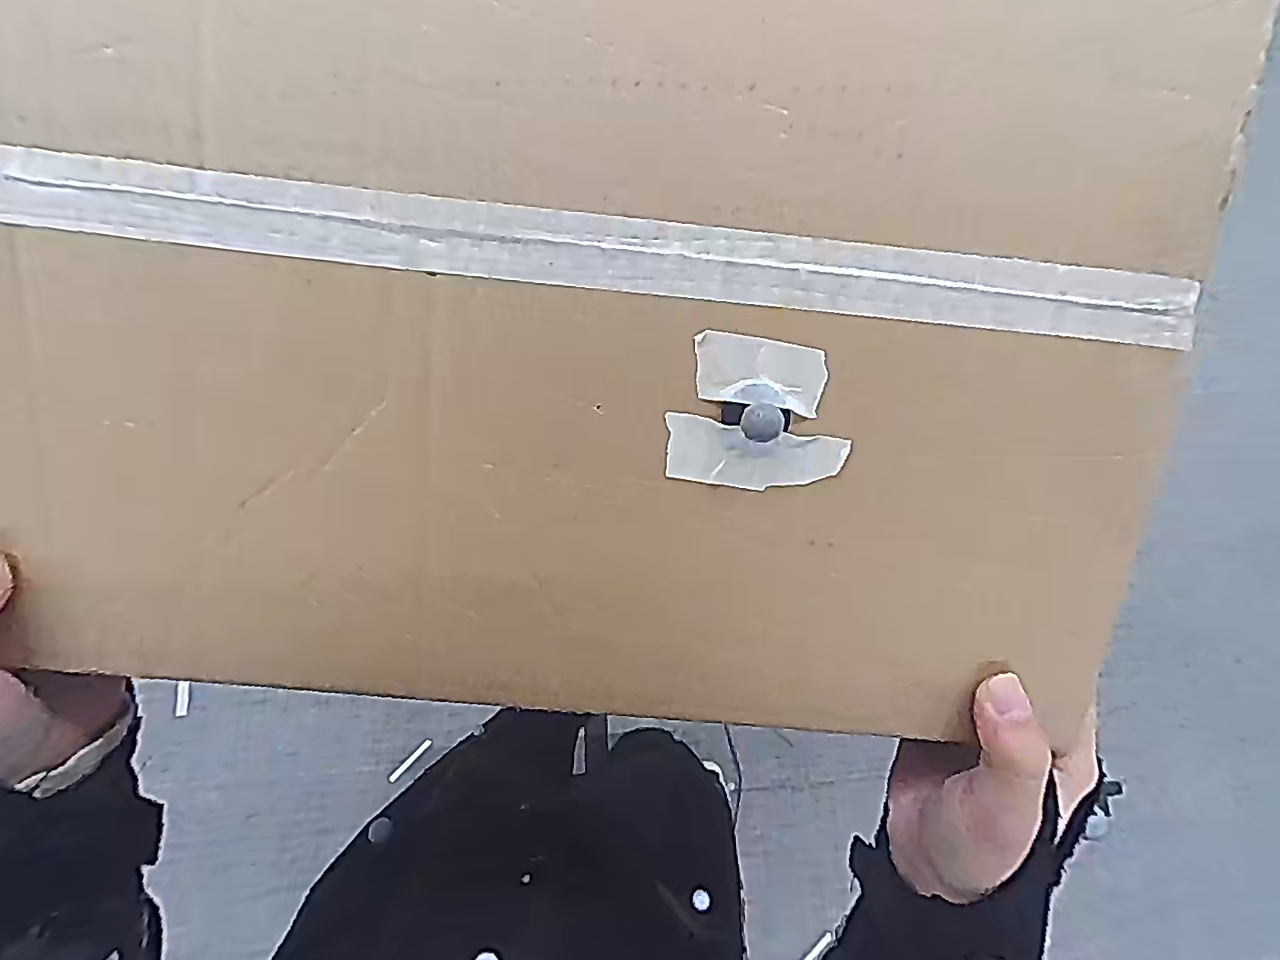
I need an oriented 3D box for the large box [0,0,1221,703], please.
[{"bbox_3d":[-0.028,-0.099,0.326,0.408,0.320,0.320,5,100,-3],"label":"large box"}]
